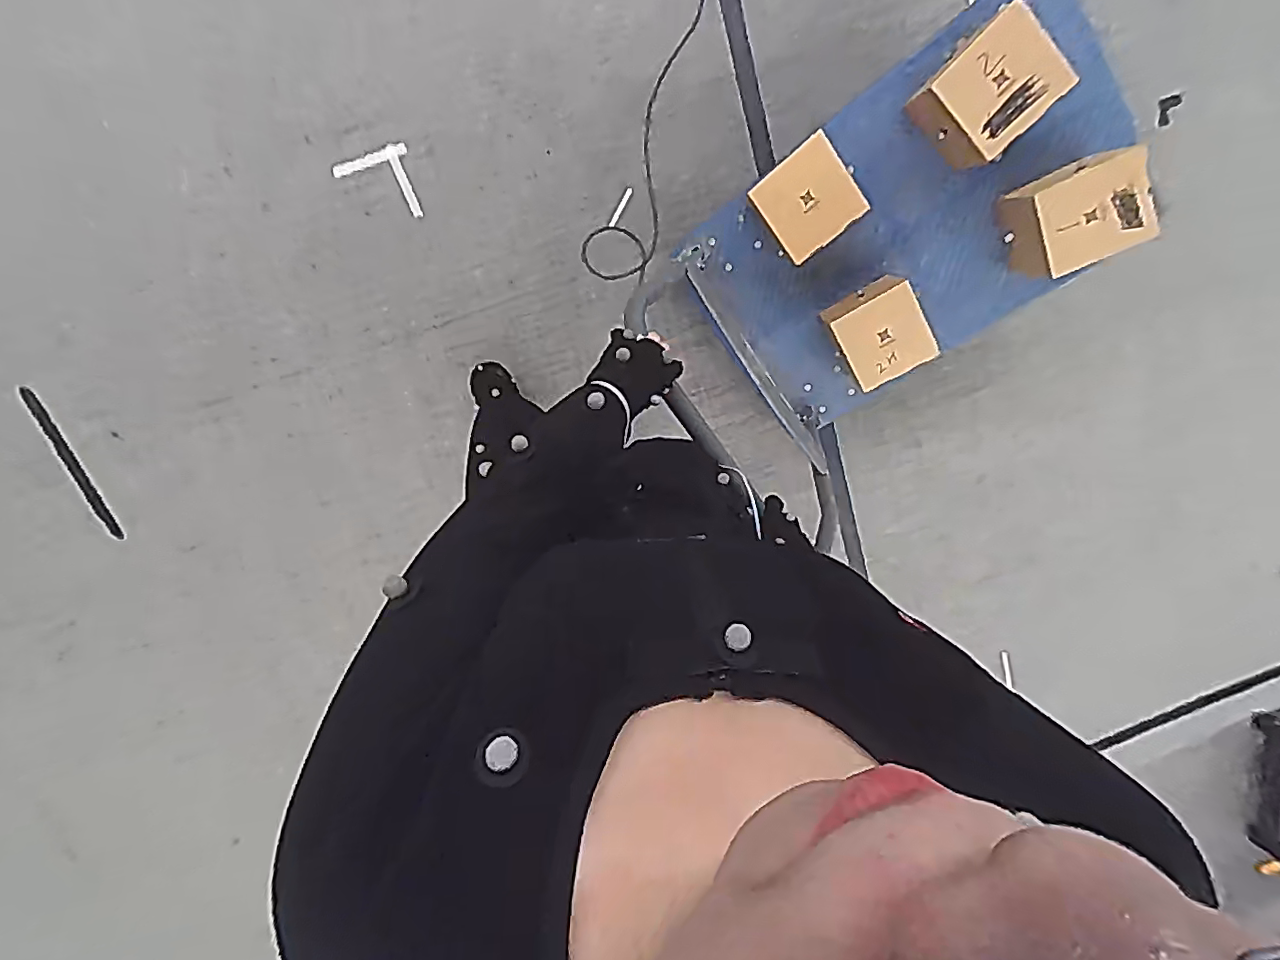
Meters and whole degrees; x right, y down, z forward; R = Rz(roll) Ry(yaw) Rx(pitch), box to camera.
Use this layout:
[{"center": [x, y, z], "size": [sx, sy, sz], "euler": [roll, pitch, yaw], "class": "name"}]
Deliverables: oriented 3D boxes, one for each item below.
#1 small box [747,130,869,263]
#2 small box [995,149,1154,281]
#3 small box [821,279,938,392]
[{"center": [0.335, -0.572, 1.115], "size": [0.168, 0.176, 0.179], "euler": [-35, 106, 21], "class": "small box"}, {"center": [0.839, -0.512, 1.057], "size": [0.179, 0.176, 0.168], "euler": [-21, 109, 19], "class": "small box"}, {"center": [0.517, -0.324, 1.194], "size": [0.168, 0.176, 0.179], "euler": [-27, 106, 20], "class": "small box"}]
